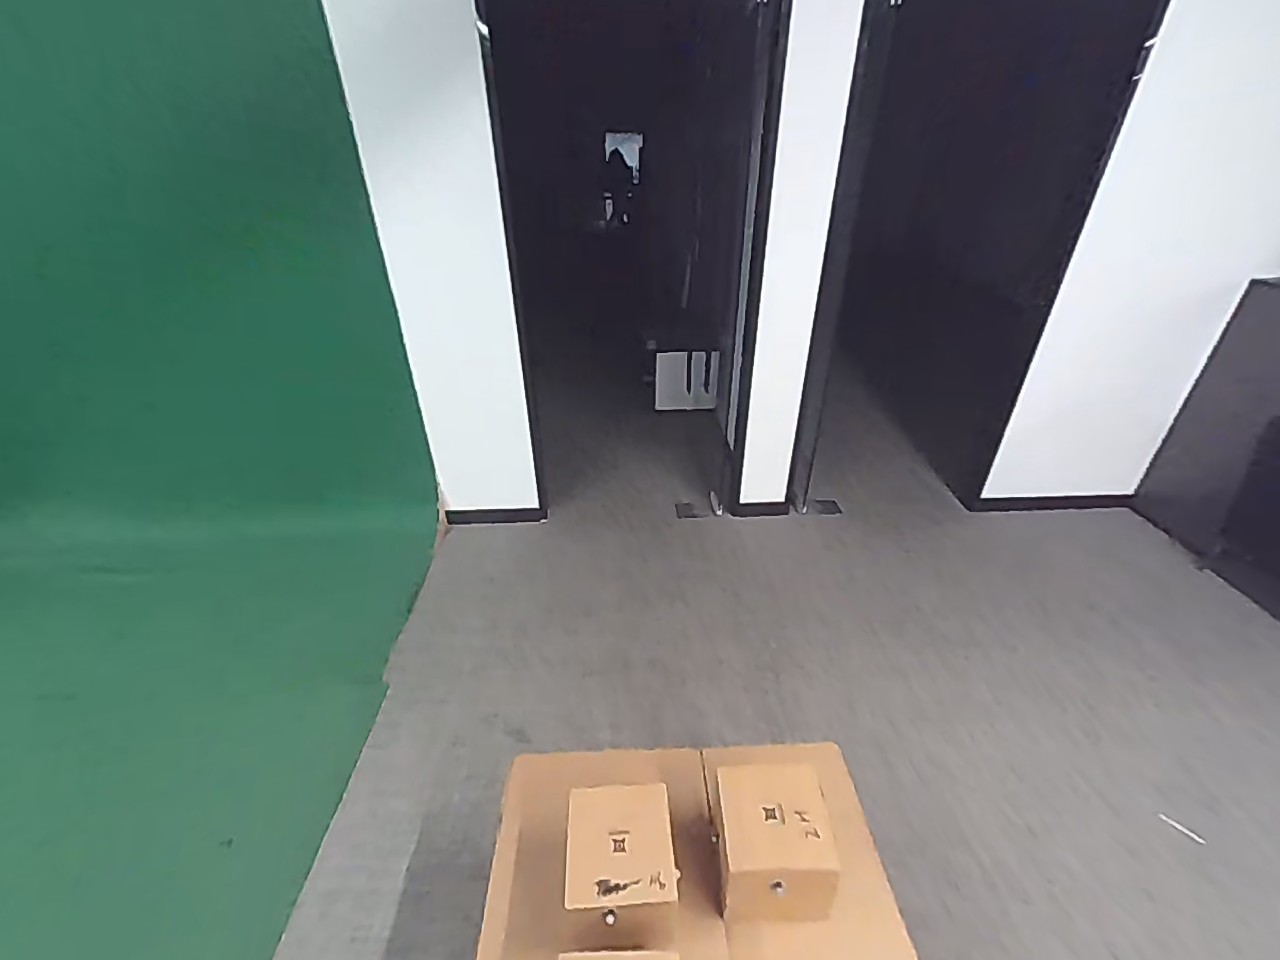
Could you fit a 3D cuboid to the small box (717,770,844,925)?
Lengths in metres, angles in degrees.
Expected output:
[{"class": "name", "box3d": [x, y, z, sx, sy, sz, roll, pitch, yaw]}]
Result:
[{"class": "small box", "box3d": [0.224, 0.617, 0.911, 0.179, 0.176, 0.168, -1, 31, 2]}]

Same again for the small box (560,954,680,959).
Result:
[{"class": "small box", "box3d": [-0.024, 0.749, 0.690, 0.168, 0.176, 0.179, -1, 30, 0]}]

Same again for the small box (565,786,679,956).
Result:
[{"class": "small box", "box3d": [-0.027, 0.636, 0.881, 0.168, 0.176, 0.179, -3, 29, -1]}]
